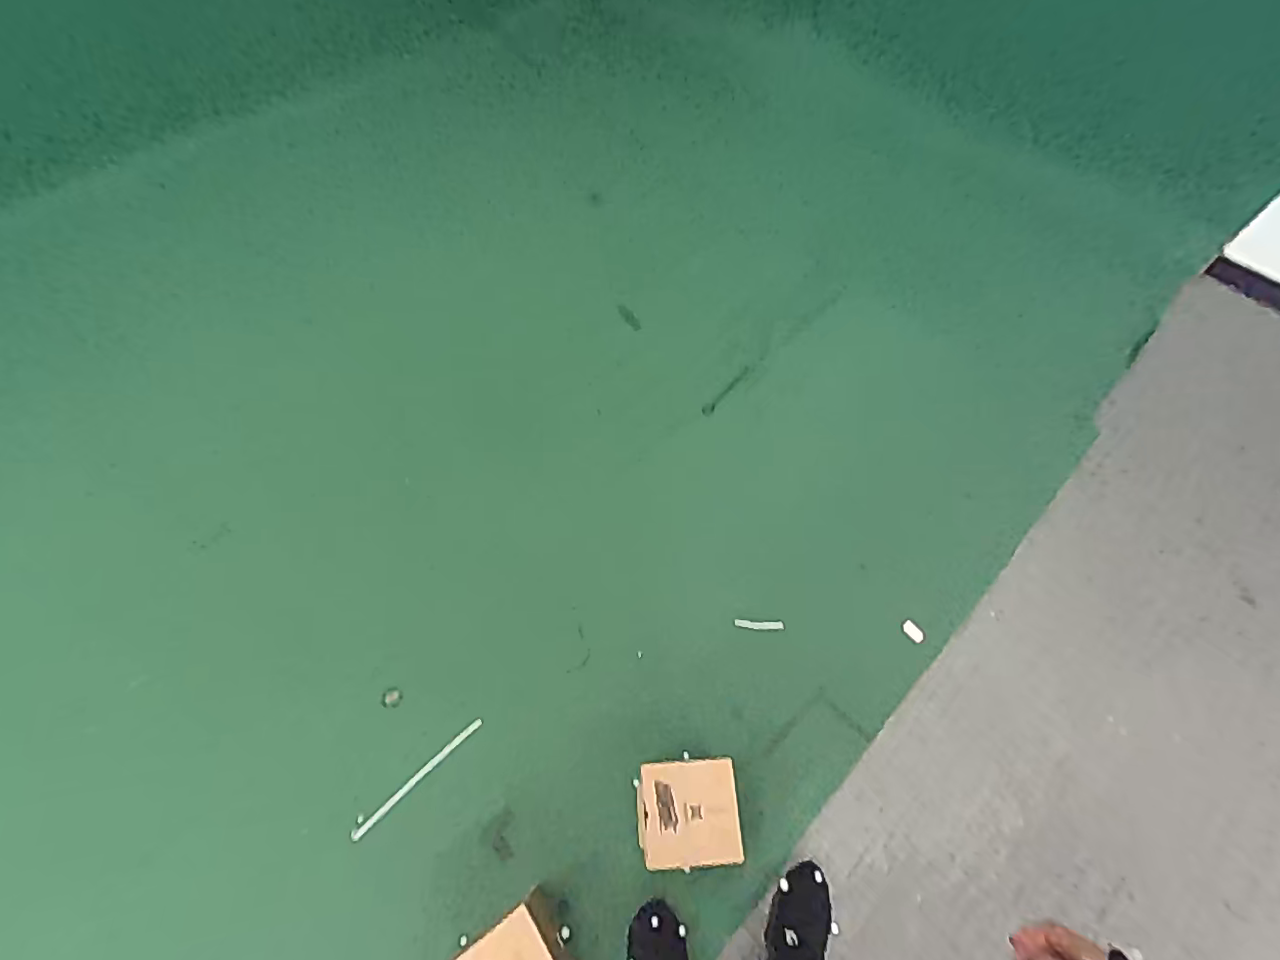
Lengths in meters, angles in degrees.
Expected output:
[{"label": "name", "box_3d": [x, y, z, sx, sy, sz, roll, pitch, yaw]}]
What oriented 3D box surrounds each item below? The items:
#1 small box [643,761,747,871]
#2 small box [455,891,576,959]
[{"label": "small box", "box_3d": [0.096, 0.648, 1.053, 0.179, 0.176, 0.168, -2, 62, -4]}, {"label": "small box", "box_3d": [-0.219, 0.861, 0.930, 0.179, 0.176, 0.168, -32, 68, -18]}]
